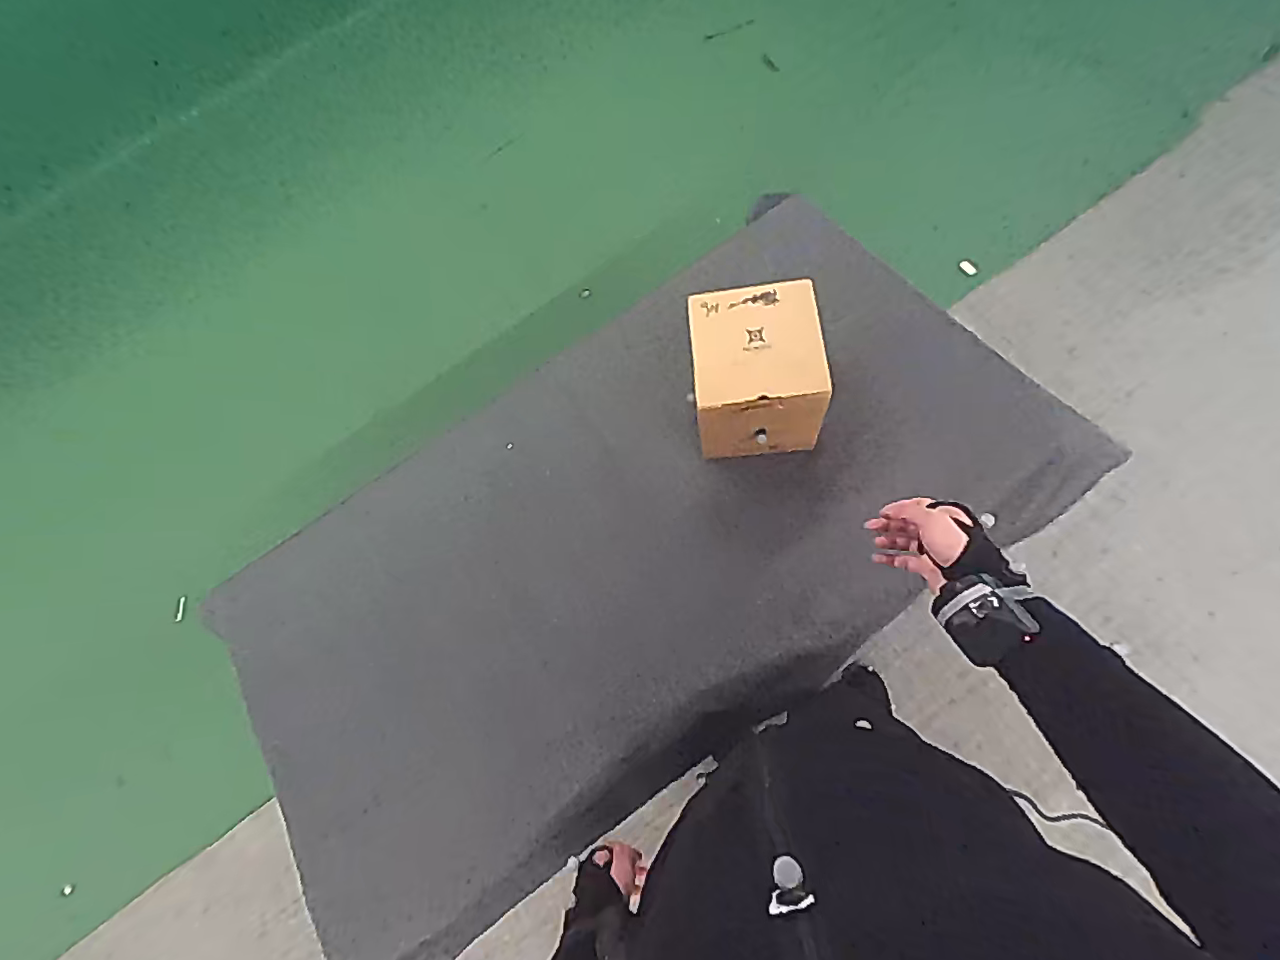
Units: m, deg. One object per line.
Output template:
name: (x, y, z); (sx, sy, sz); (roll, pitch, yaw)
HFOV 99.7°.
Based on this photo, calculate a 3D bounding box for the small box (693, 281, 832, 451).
small box: (0.168, -0.149, 0.772); (0.168, 0.176, 0.179); (-5, 70, 8)
